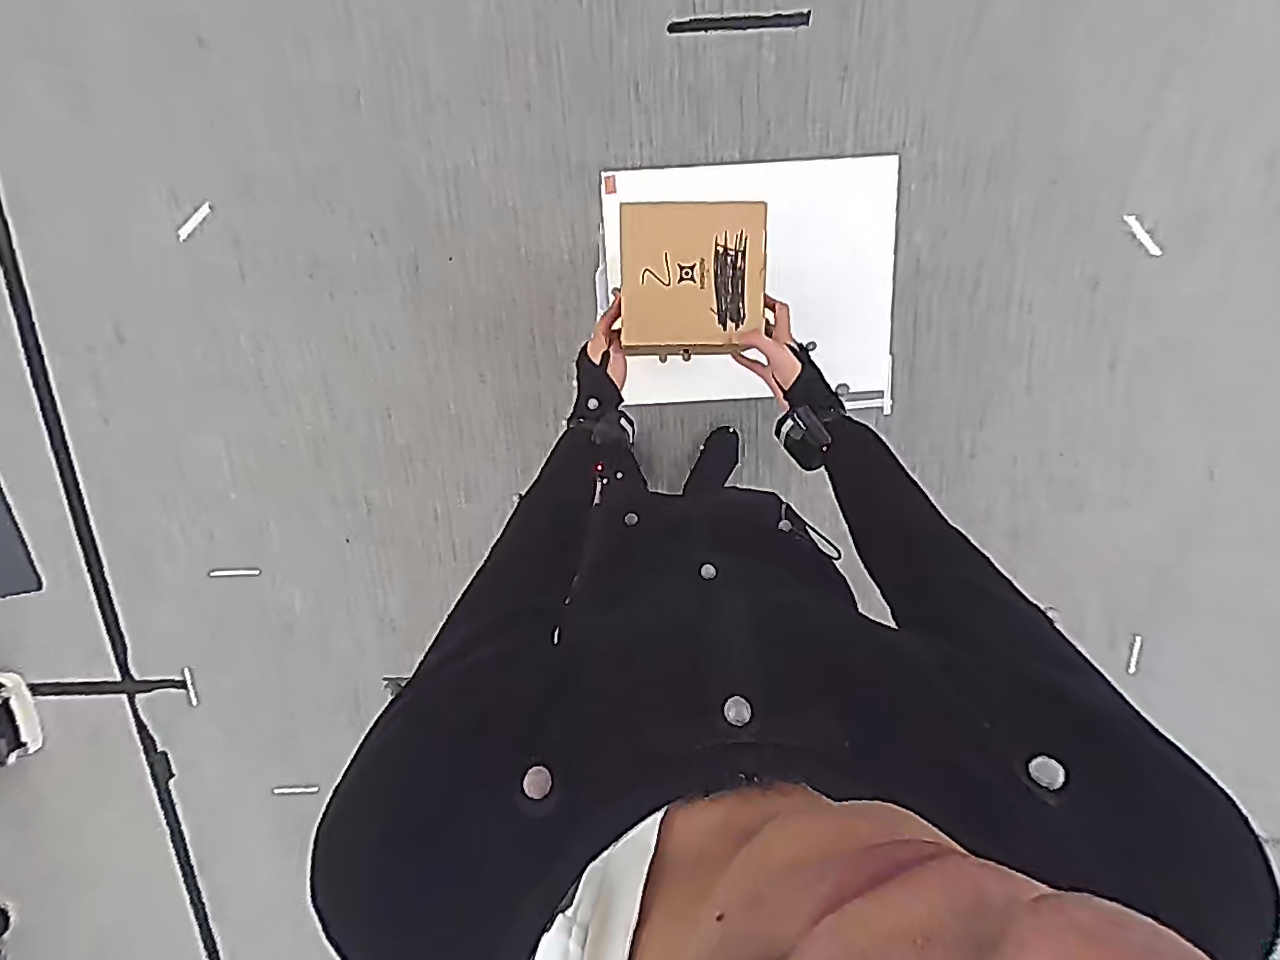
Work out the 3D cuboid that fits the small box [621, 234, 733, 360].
[{"bbox_3d":[0.056,-0.291,0.887,0.168,0.176,0.179,-3,103,-1],"label":"small box"}]
